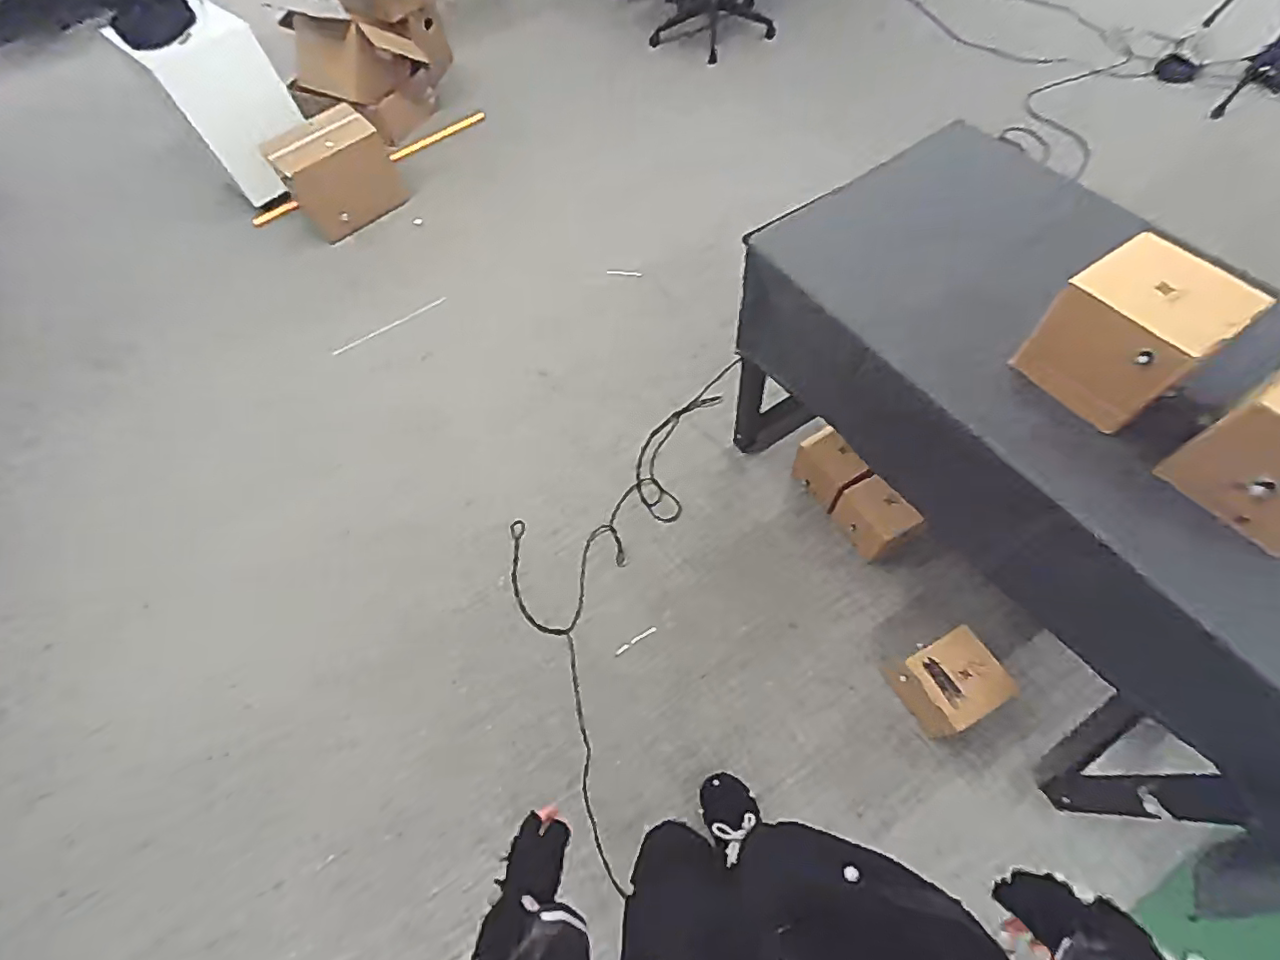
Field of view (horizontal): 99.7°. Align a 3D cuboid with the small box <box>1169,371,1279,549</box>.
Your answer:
[{"bbox_3d":[0.829,-0.042,0.669,0.179,0.176,0.168,-33,63,-12],"label":"small box"}]
